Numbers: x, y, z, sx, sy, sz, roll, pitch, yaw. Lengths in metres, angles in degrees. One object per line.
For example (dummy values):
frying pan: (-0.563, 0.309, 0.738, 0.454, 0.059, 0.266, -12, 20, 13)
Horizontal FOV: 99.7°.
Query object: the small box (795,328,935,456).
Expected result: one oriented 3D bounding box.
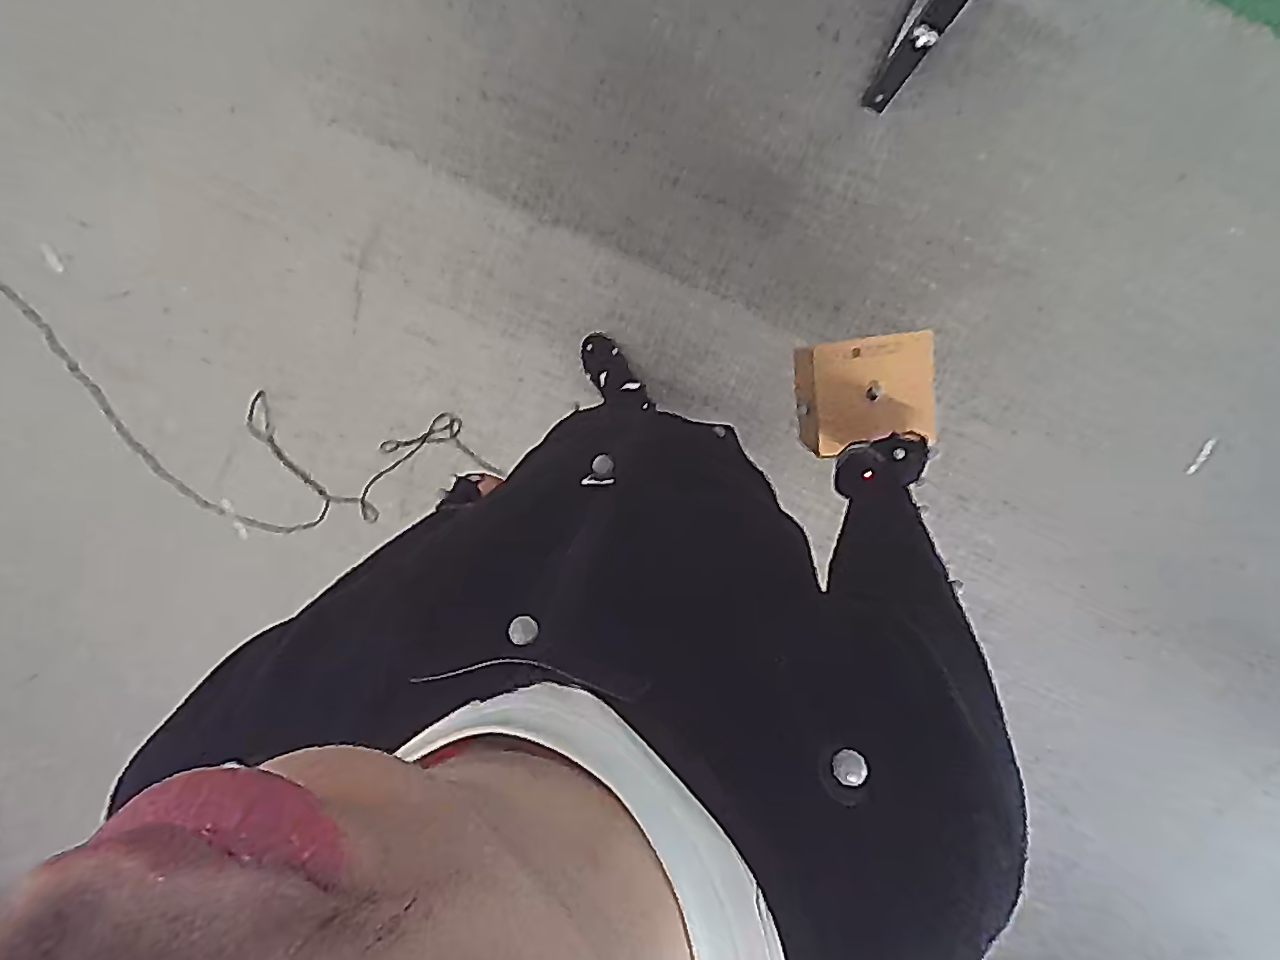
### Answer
small box: (0.346, -0.143, 0.861, 0.168, 0.179, 0.176, -7, 100, 10)
